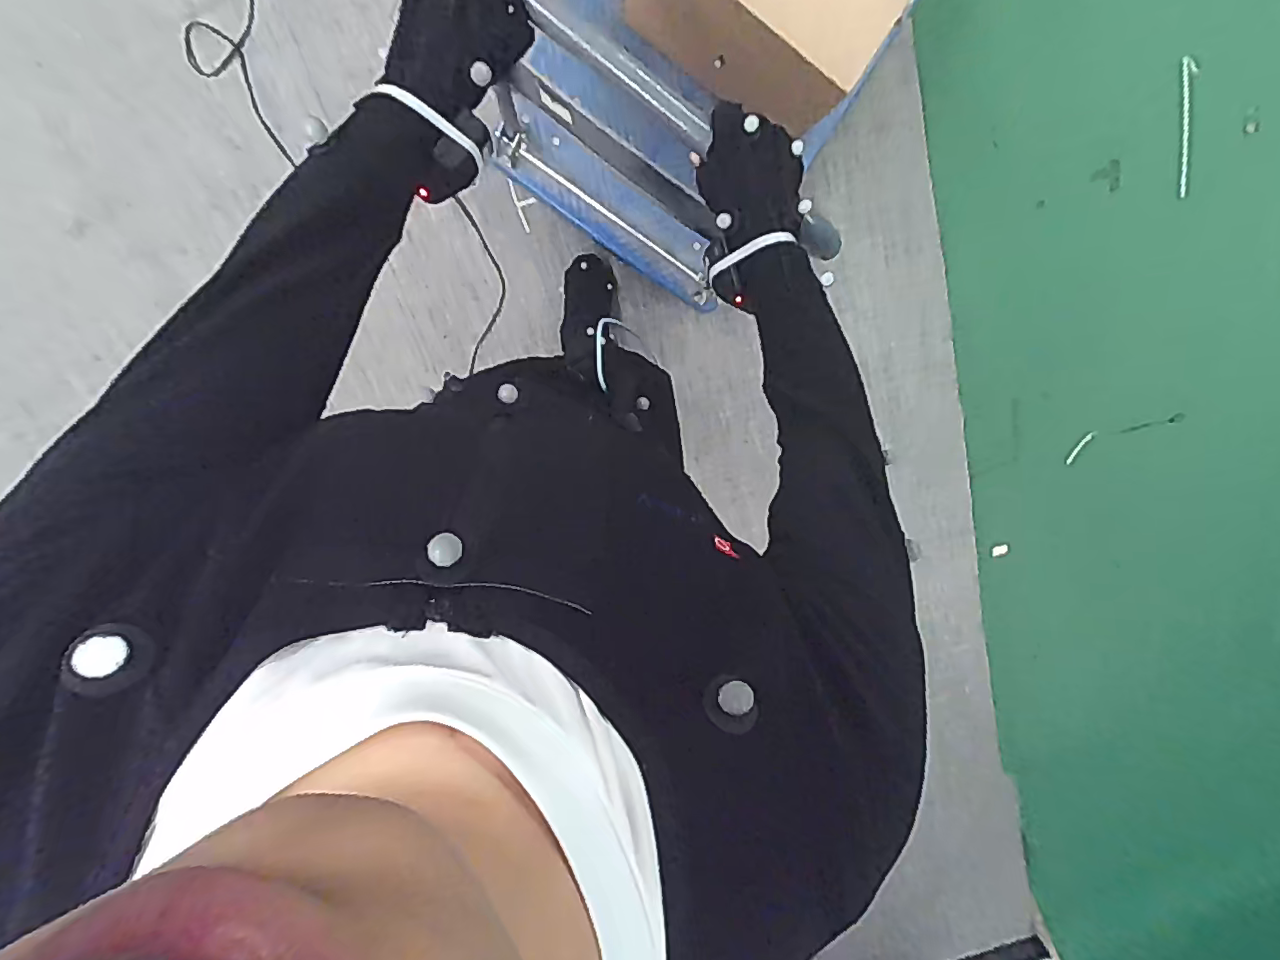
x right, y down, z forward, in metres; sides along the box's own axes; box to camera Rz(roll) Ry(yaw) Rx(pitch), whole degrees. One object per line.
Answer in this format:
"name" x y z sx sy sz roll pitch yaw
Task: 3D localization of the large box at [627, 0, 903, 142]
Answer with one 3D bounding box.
"large box" 0.227 -0.873 0.917 0.408 0.320 0.320 30 102 -12
